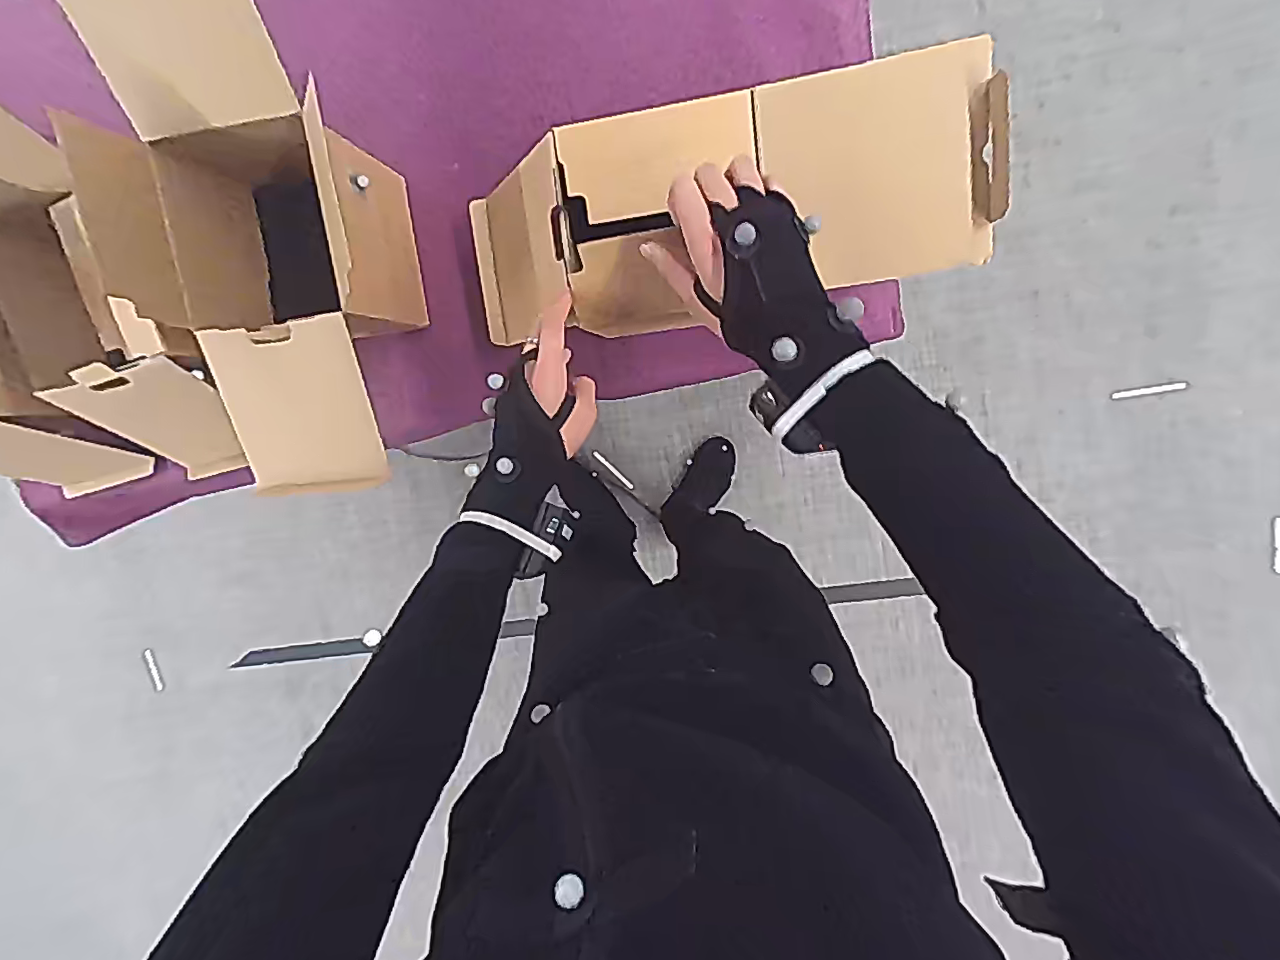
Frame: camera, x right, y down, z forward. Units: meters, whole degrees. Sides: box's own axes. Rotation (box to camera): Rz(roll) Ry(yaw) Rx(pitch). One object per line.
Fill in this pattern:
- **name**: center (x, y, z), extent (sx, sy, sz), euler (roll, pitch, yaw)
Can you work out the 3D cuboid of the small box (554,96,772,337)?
- **small box**: center (0.028, -0.240, 0.538), extent (0.179, 0.176, 0.168), euler (-5, 100, 8)
